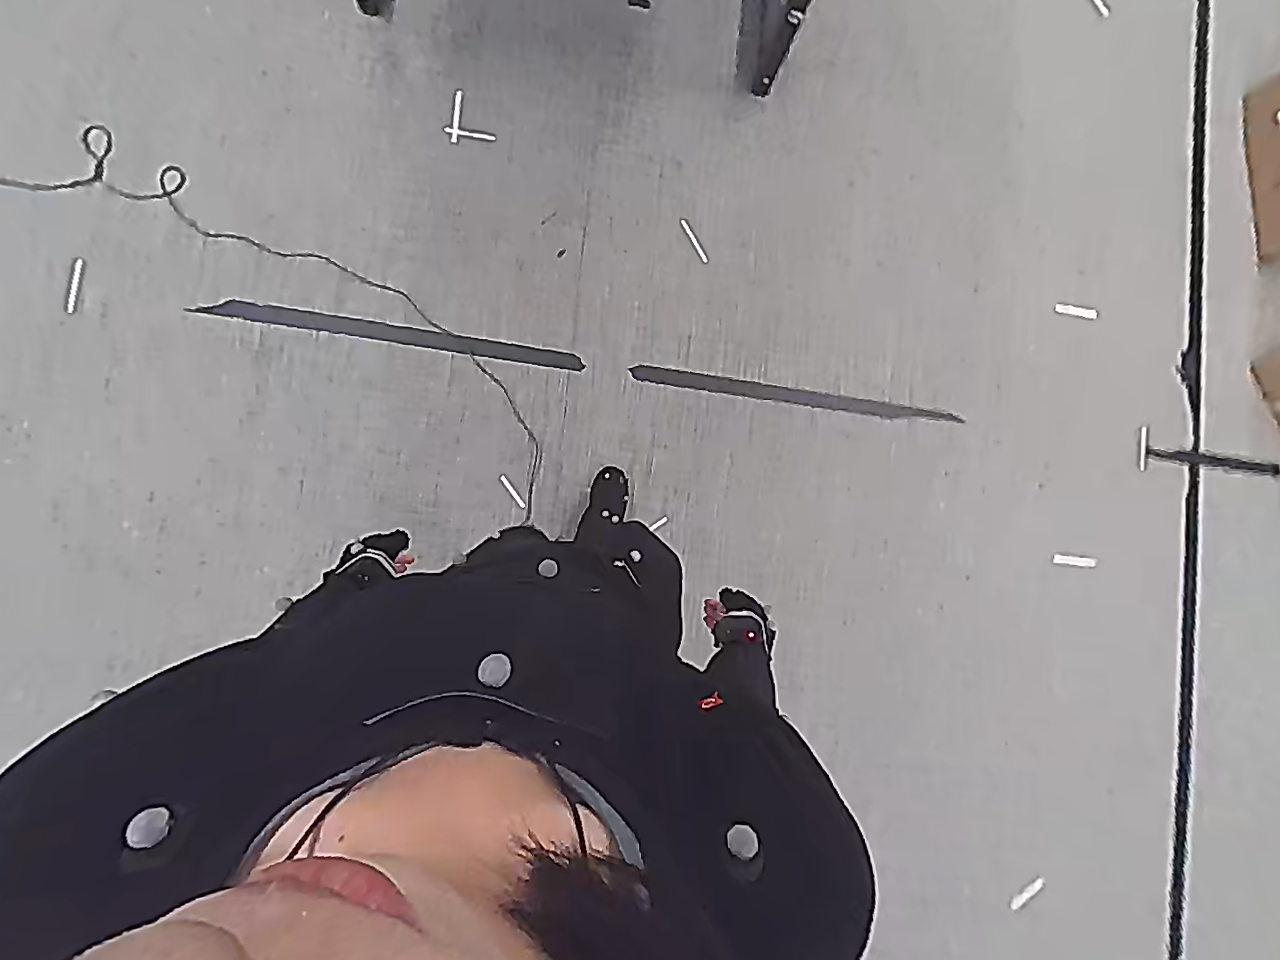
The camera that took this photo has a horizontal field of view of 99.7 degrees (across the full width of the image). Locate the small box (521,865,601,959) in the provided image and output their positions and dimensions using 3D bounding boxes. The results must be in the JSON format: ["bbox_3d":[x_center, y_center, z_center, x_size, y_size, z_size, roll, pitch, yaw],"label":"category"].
[{"bbox_3d":[-0.194,1.128,1.361,0.168,0.176,0.179,-13,88,-8],"label":"small box"}]
